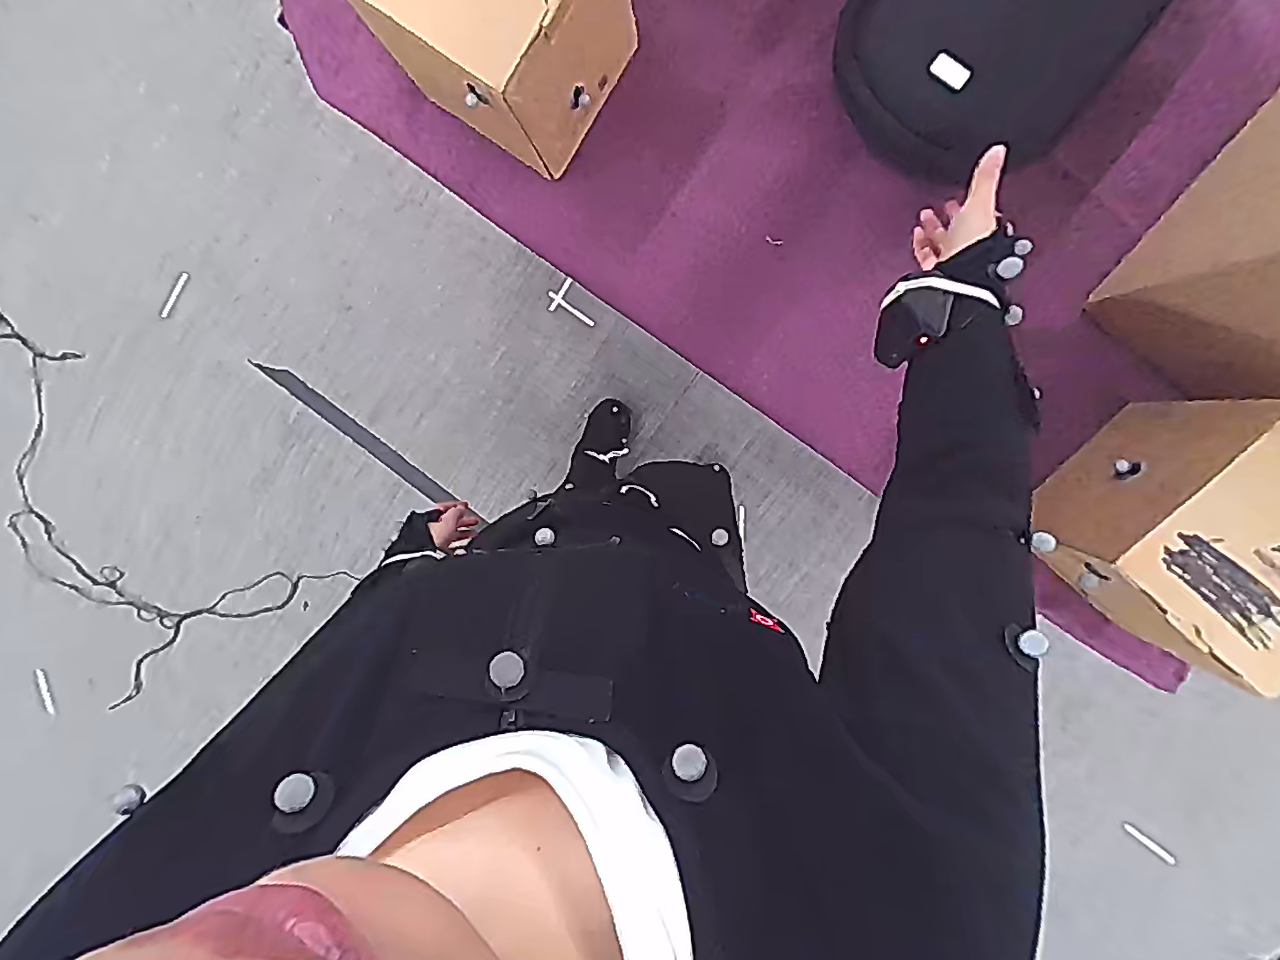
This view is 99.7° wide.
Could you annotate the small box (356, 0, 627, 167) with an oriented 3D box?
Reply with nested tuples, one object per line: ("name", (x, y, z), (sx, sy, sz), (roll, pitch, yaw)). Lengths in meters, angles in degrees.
("small box", (-0.131, -0.436, 0.504), (0.179, 0.176, 0.168), (34, 99, 0))
